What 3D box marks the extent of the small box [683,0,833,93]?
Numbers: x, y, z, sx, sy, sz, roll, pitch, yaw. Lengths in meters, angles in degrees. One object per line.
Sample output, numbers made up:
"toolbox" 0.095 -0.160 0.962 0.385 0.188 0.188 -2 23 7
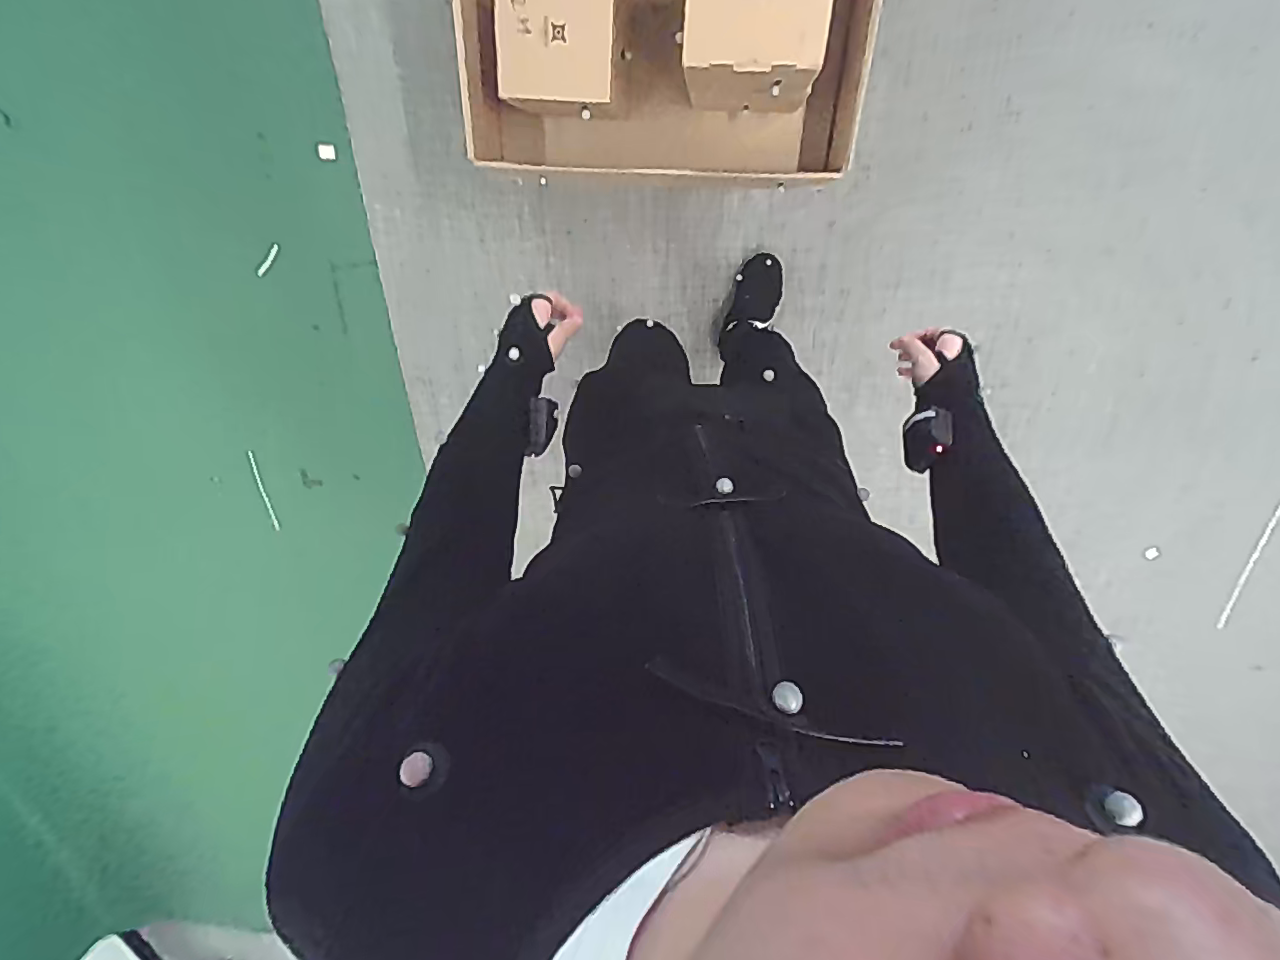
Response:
"small box" 0.147 -0.595 0.664 0.168 0.176 0.179 6 117 5
